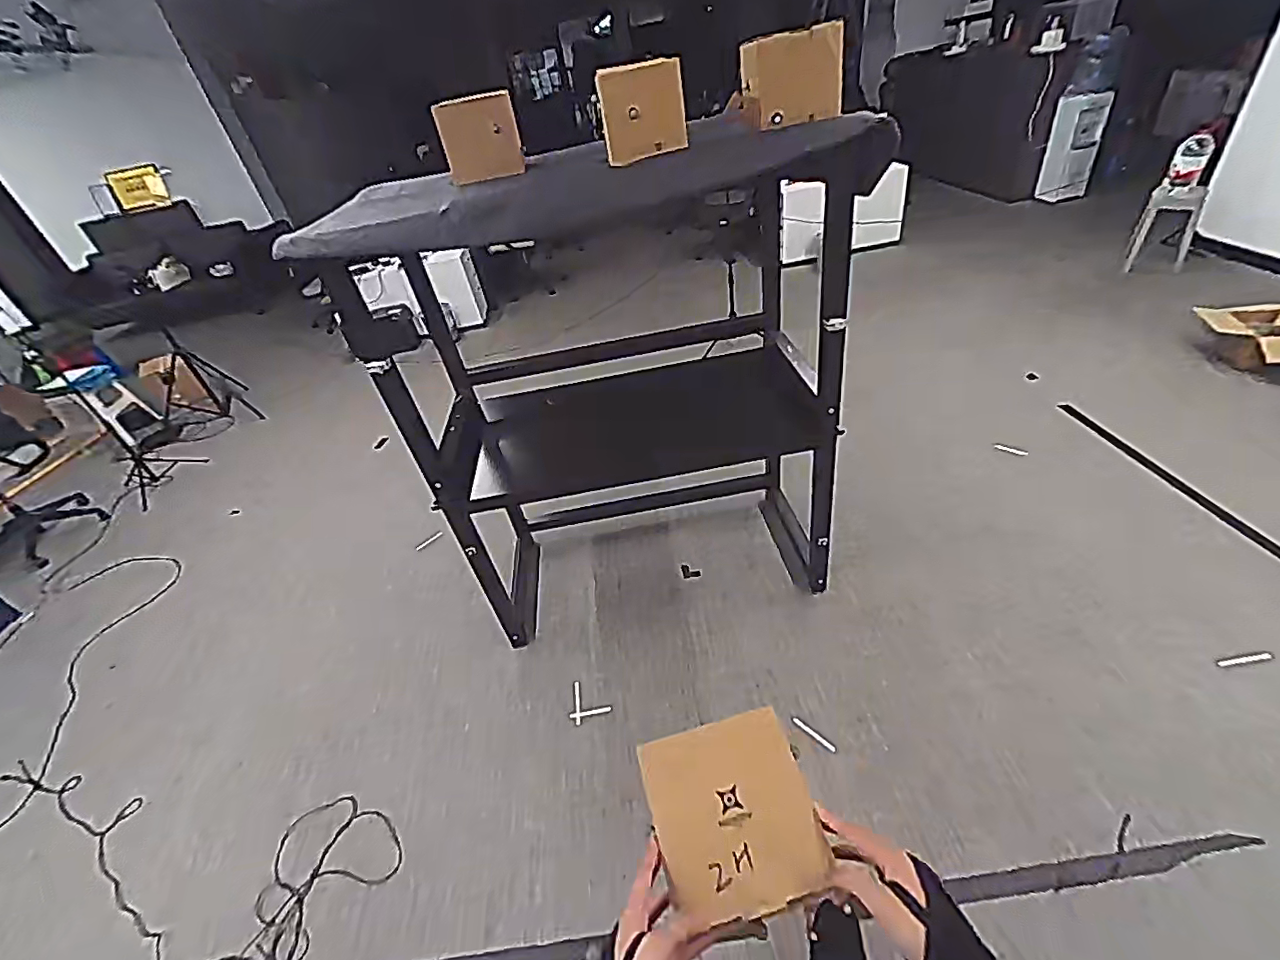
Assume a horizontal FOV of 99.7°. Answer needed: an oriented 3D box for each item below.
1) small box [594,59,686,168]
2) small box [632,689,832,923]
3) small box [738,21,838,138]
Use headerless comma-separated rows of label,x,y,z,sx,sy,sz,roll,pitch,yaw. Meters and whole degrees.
small box,0.000,-0.791,1.176,0.168,0.176,0.179,-11,35,1
small box,0.094,0.375,0.622,0.168,0.176,0.179,-14,48,-5
small box,0.311,-0.837,1.147,0.168,0.176,0.179,-10,34,3
